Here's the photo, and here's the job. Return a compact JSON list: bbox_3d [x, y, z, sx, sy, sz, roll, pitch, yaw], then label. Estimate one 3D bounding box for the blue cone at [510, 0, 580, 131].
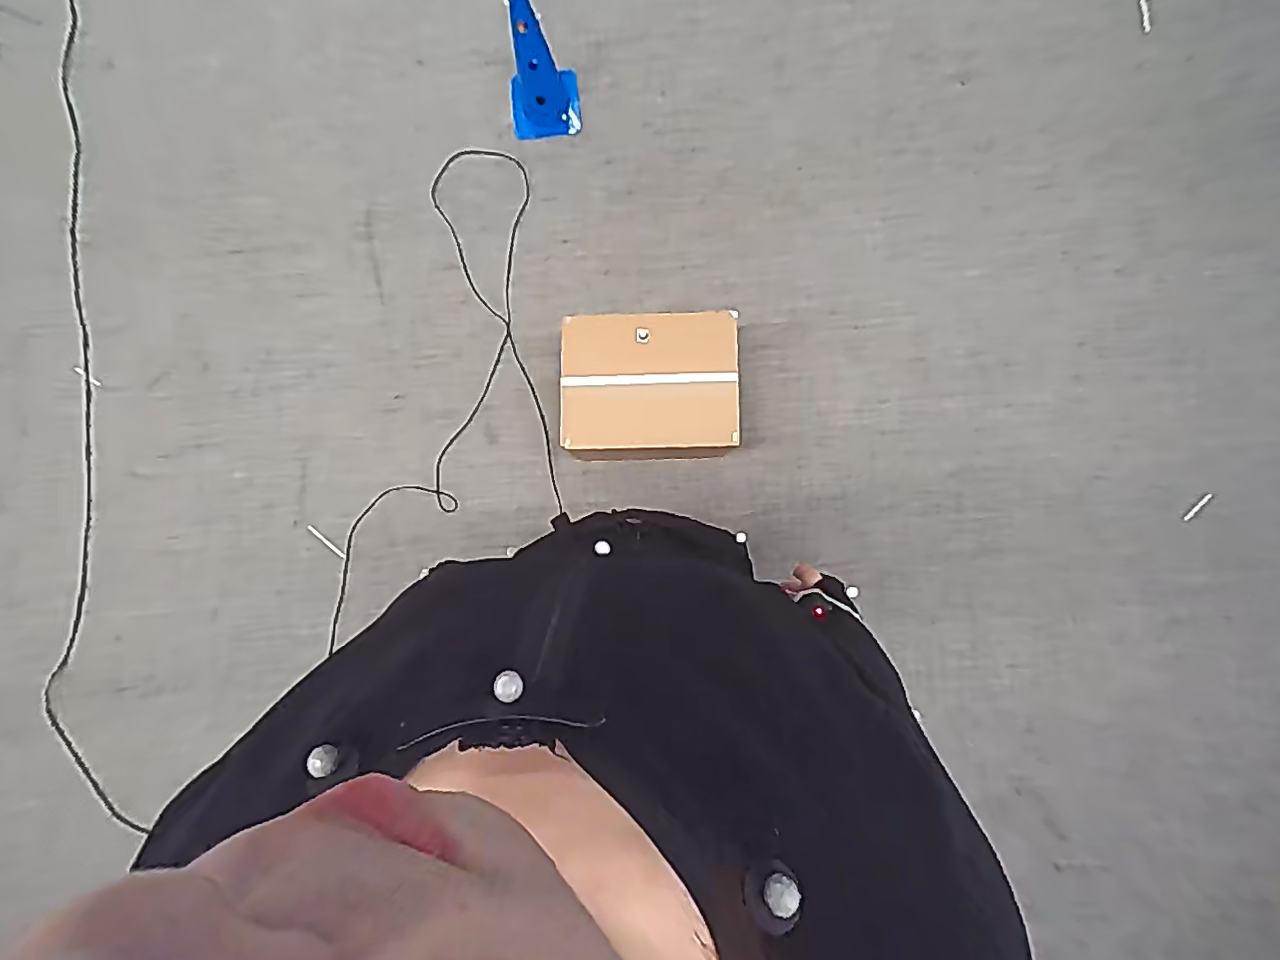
[{"bbox_3d":[-0.278,-1.121,1.402,0.193,0.380,0.192,-7,87,0],"label":"blue cone"}]
